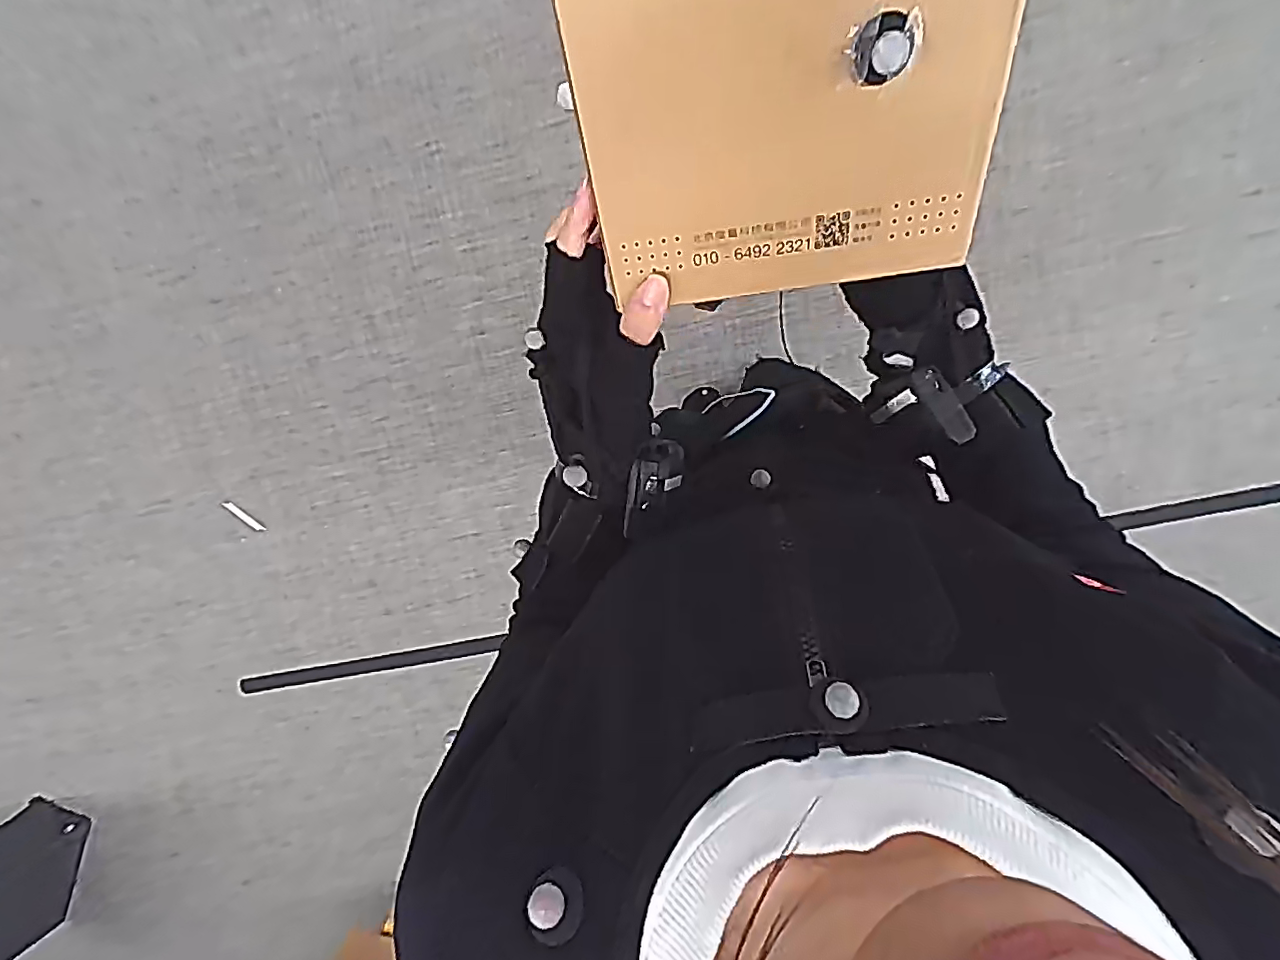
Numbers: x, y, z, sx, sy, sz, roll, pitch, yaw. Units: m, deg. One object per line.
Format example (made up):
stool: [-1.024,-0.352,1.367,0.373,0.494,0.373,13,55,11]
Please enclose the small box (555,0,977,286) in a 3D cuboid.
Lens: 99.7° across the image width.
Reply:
small box: [0.062,-0.216,0.290,0.168,0.179,0.176,-4,132,10]
